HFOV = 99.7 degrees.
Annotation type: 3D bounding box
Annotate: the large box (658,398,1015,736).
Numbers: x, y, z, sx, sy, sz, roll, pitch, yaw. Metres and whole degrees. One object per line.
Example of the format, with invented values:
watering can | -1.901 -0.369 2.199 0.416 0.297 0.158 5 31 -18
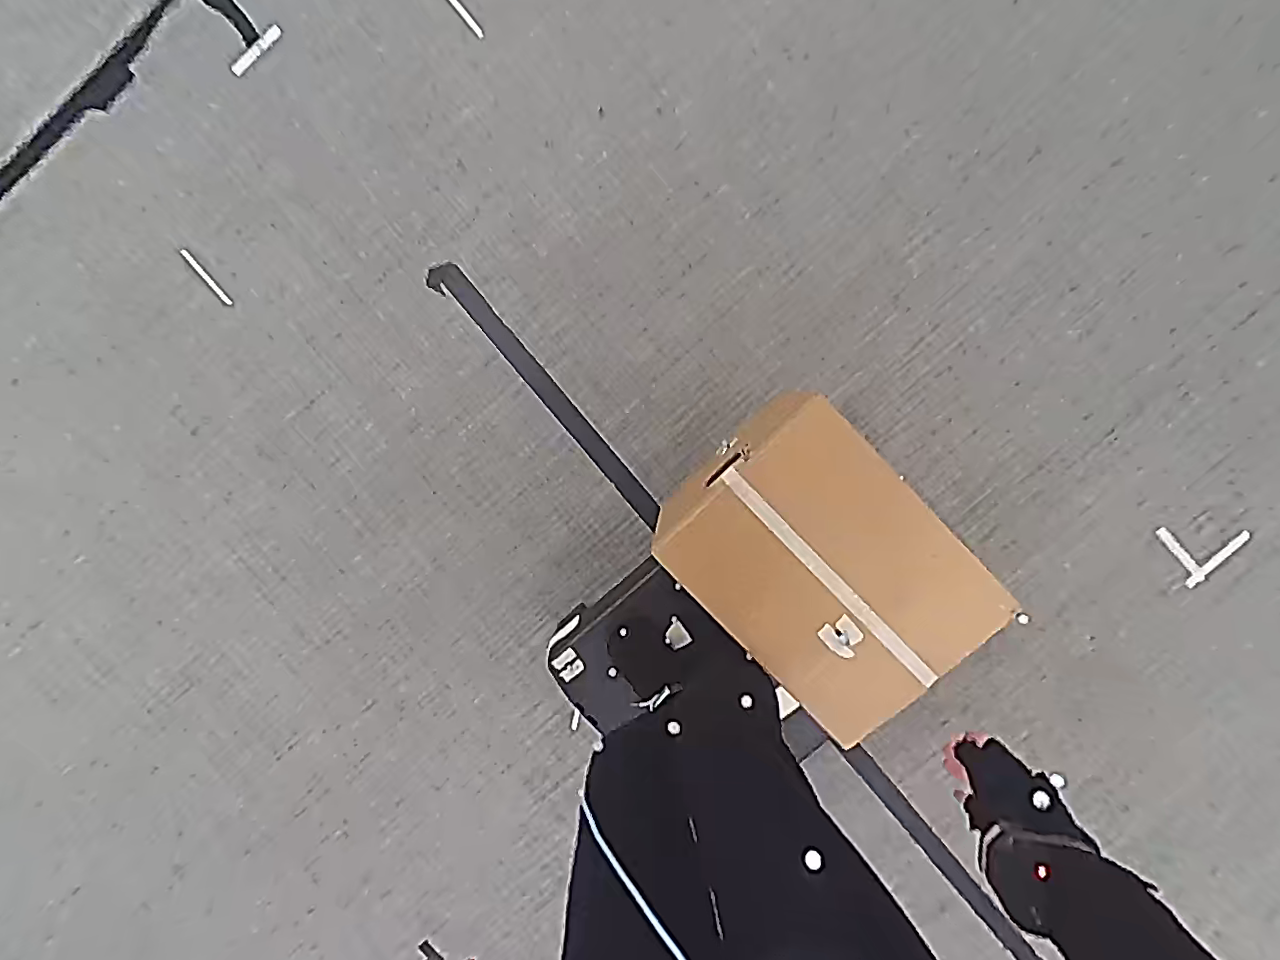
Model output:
large box | 0.277 0.109 0.896 0.408 0.320 0.320 45 101 -3
